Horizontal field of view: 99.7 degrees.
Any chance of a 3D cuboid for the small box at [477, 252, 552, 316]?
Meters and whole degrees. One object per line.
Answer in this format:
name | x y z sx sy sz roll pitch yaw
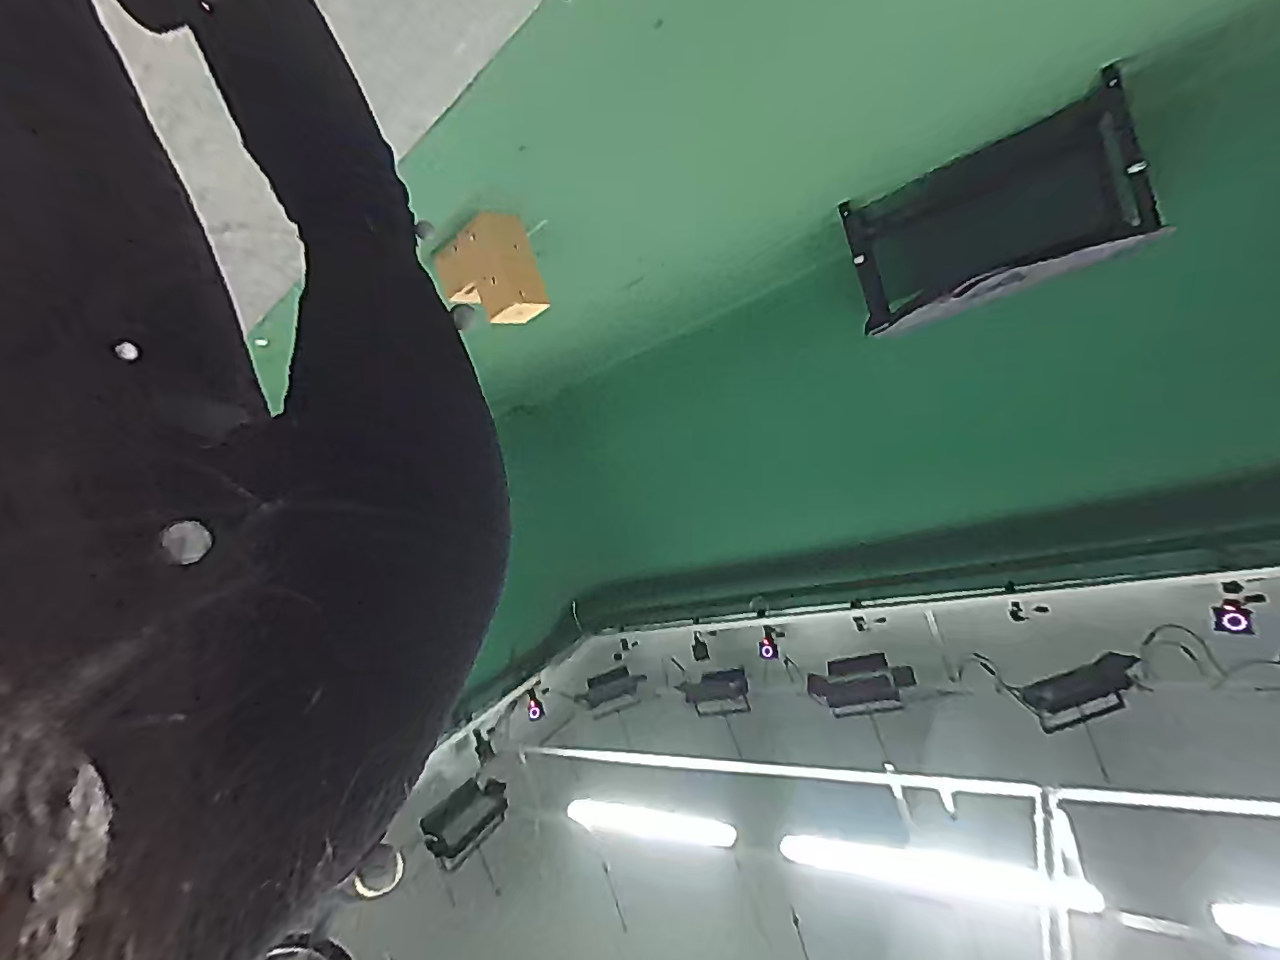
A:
small box | -0.453 -0.705 1.949 0.168 0.176 0.179 -16 -177 39
